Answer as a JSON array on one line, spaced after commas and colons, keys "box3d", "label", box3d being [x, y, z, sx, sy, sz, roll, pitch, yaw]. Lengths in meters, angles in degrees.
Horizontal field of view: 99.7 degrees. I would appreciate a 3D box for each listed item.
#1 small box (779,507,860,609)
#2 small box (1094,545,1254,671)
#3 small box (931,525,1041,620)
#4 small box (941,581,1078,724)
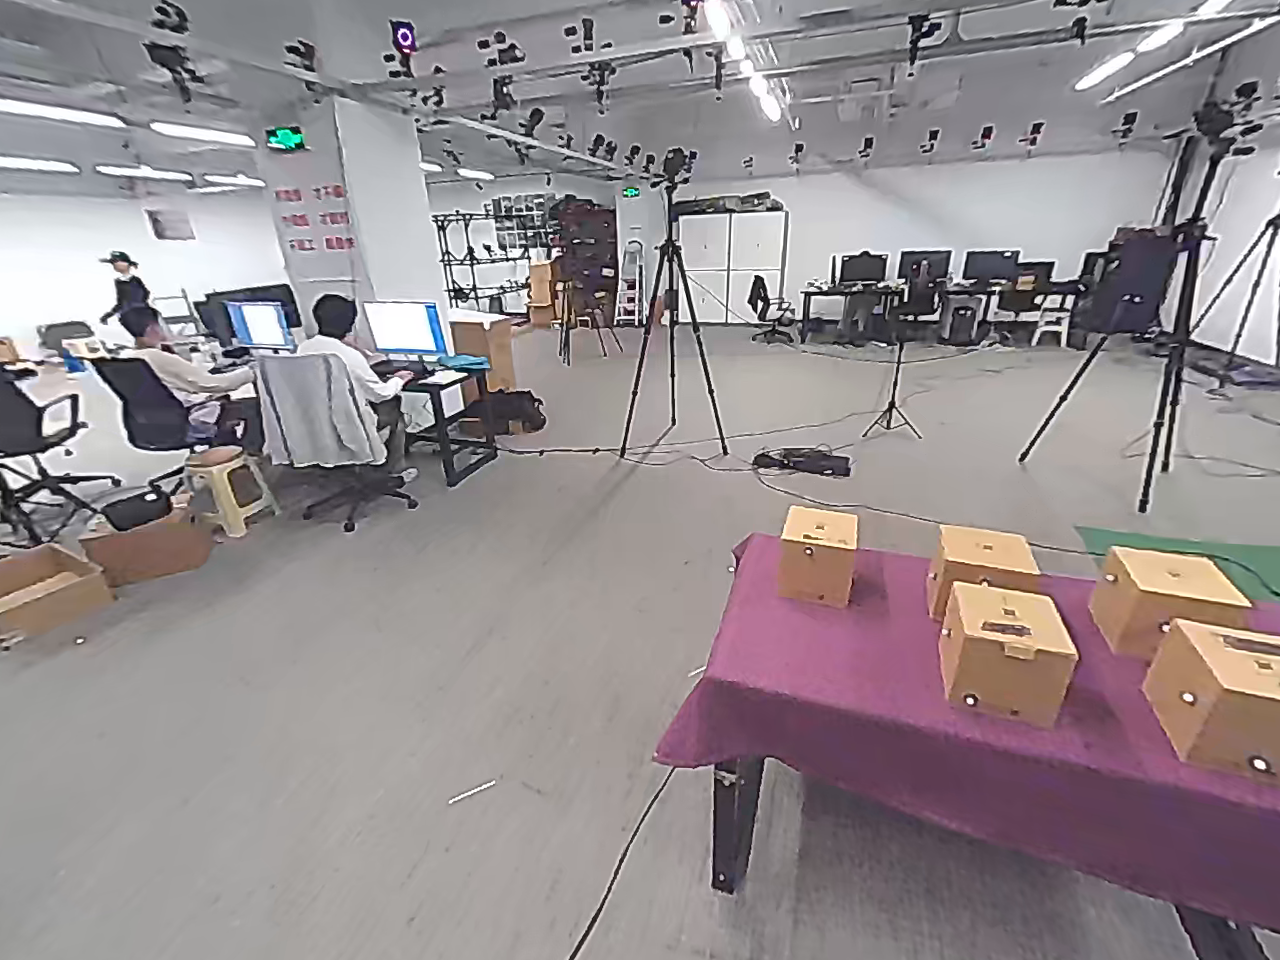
[{"box3d": [0.440, 0.187, 1.329, 0.168, 0.176, 0.179, 7, 25, 20], "label": "small box"}, {"box3d": [1.071, 0.257, 1.103, 0.168, 0.176, 0.179, 7, 25, 22], "label": "small box"}, {"box3d": [0.766, 0.222, 1.219, 0.179, 0.176, 0.168, 8, 27, 22], "label": "small box"}, {"box3d": [0.674, 0.318, 1.008, 0.168, 0.176, 0.179, 7, 25, 21], "label": "small box"}]
